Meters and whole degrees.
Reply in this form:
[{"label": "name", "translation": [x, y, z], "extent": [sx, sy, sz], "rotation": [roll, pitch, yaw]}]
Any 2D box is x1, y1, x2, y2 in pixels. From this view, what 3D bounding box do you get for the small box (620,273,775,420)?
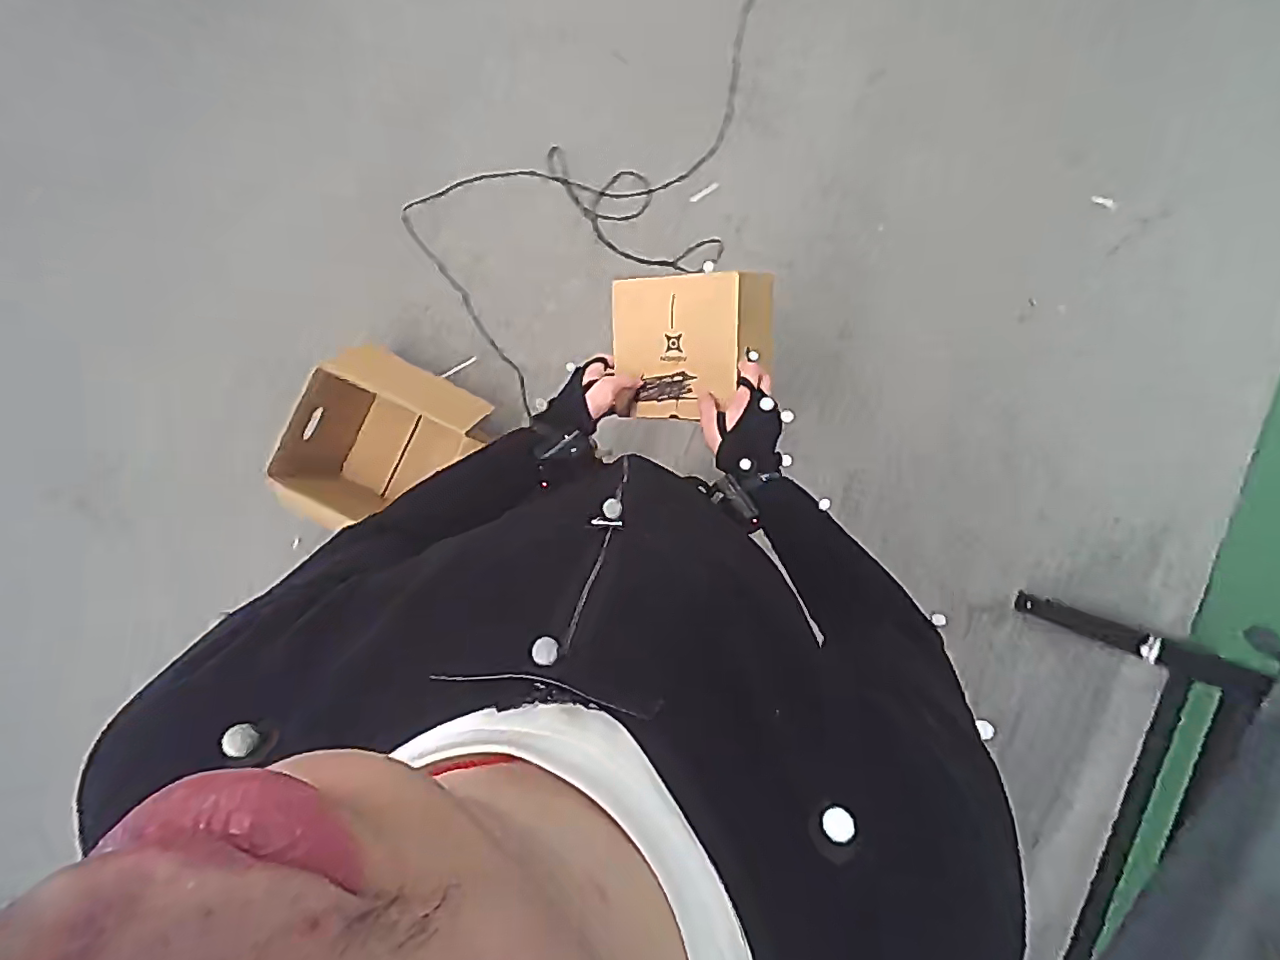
[{"label": "small box", "translation": [0.085, -0.190, 0.745], "extent": [0.168, 0.176, 0.179], "rotation": [7, 110, 25]}]
